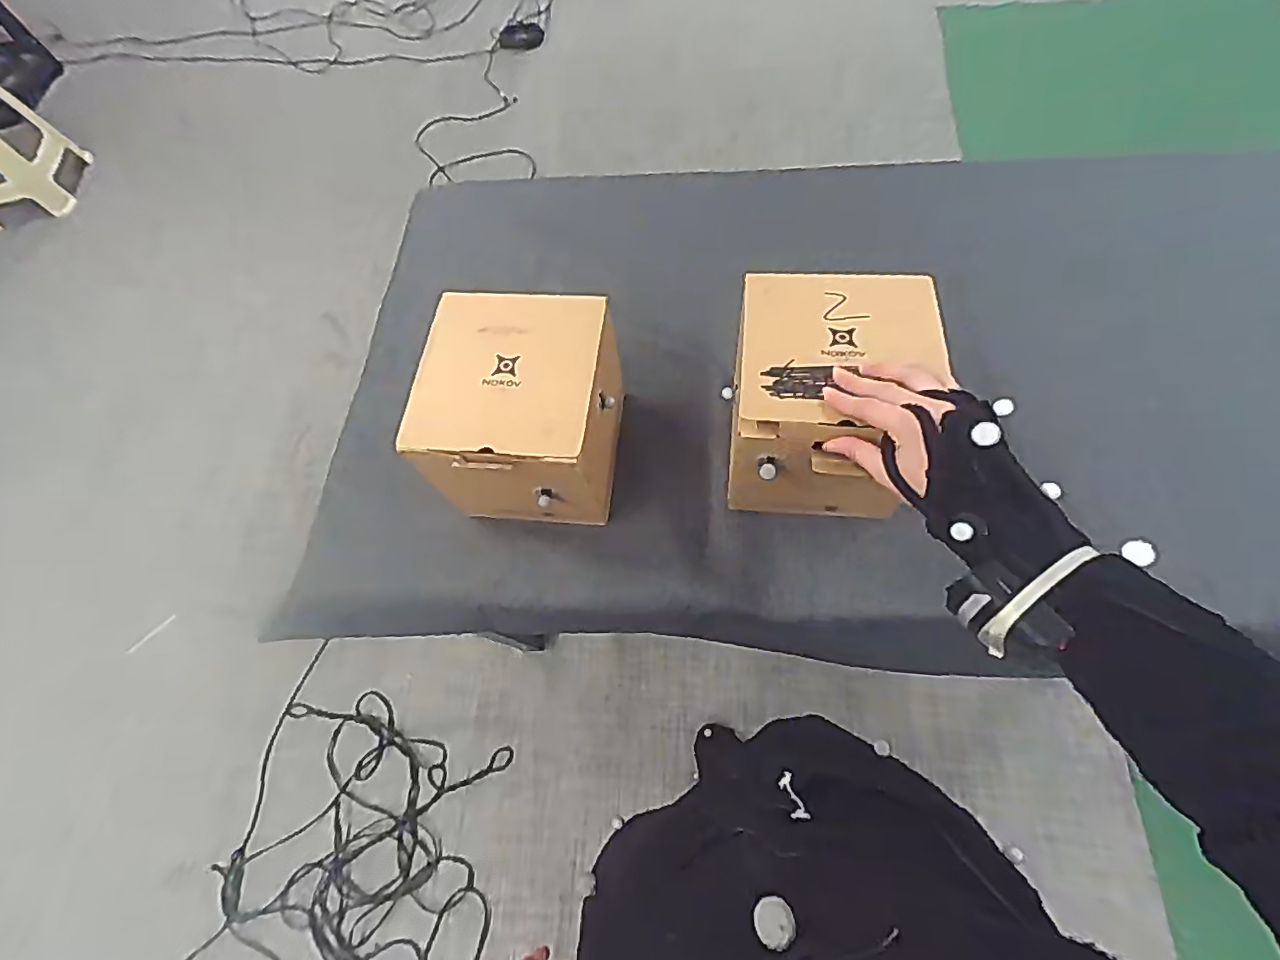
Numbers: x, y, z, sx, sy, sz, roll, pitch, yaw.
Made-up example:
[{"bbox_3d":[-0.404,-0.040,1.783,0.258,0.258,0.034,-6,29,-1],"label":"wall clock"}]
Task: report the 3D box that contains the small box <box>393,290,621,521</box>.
[{"bbox_3d":[-0.115,-0.067,0.552,0.168,0.176,0.179,4,66,6],"label":"small box"}]
